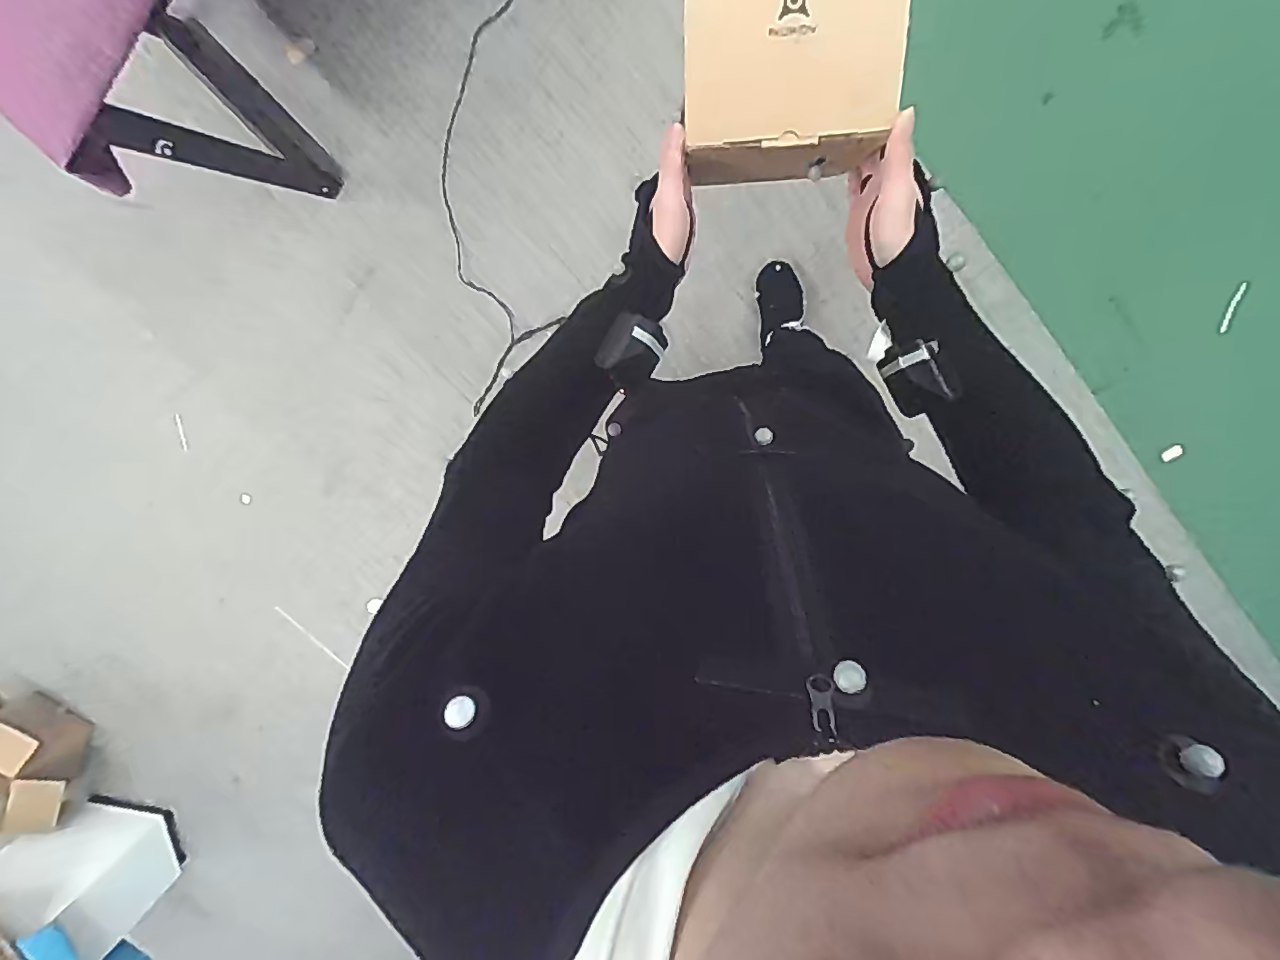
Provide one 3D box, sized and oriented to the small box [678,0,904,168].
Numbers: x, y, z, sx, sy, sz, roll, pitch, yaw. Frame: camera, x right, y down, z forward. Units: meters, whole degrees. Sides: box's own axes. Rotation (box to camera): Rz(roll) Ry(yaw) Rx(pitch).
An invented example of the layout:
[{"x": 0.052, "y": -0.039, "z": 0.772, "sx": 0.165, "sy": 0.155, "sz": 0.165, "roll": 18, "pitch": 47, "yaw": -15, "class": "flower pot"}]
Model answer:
[{"x": 0.118, "y": -0.383, "z": 0.469, "sx": 0.168, "sy": 0.176, "sz": 0.179, "roll": 0, "pitch": 109, "yaw": 6, "class": "small box"}]
